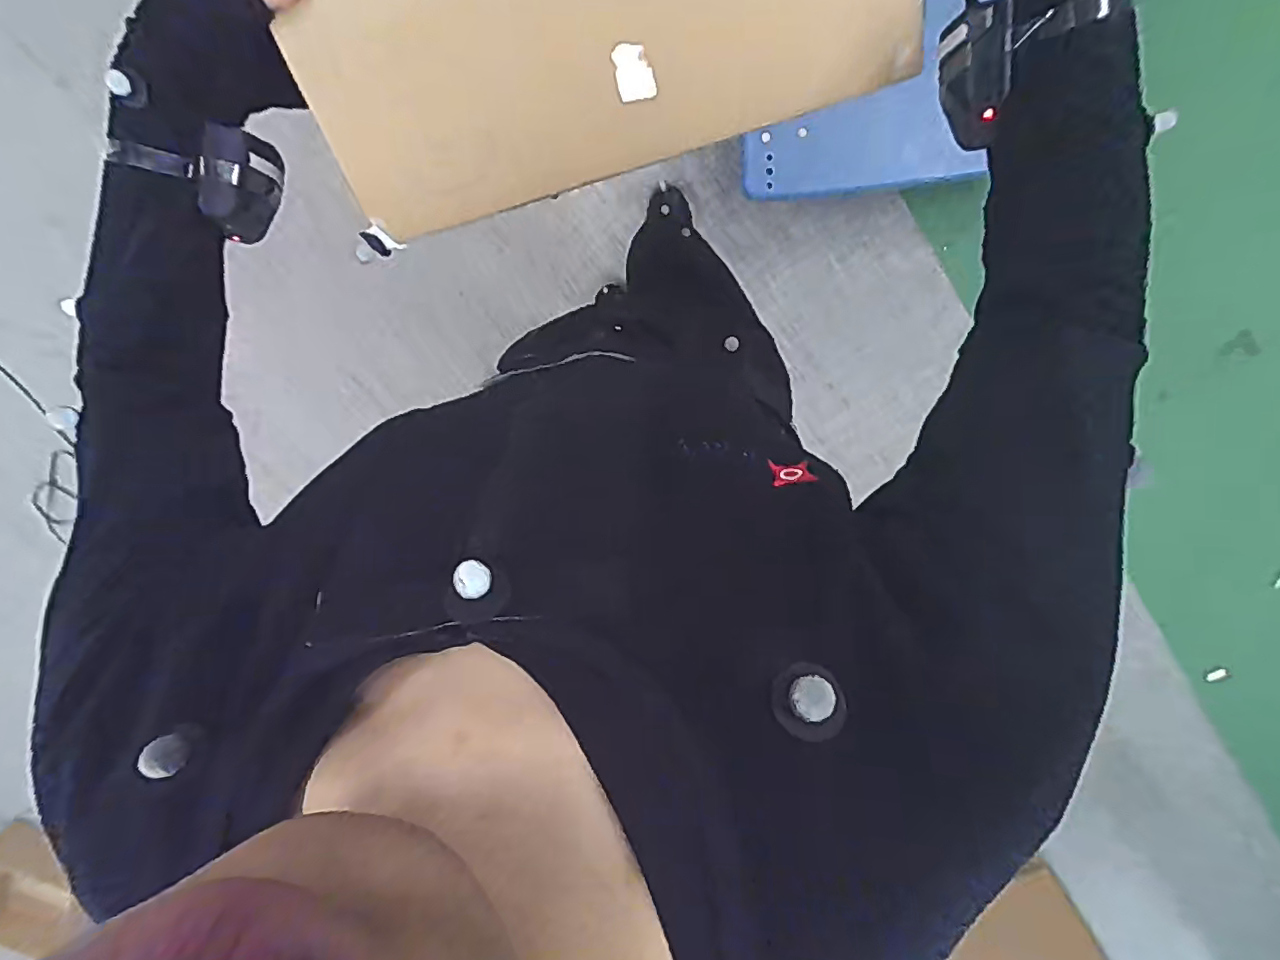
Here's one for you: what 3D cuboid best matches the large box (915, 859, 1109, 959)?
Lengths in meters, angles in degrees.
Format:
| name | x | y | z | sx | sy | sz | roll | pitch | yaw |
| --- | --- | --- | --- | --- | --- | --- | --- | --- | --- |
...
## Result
| name | x | y | z | sx | sy | sz | roll | pitch | yaw |
| --- | --- | --- | --- | --- | --- | --- | --- | --- | --- |
| large box | 1.084 | 1.376 | 1.522 | 0.408 | 0.320 | 0.320 | -35 | 104 | 15 |
